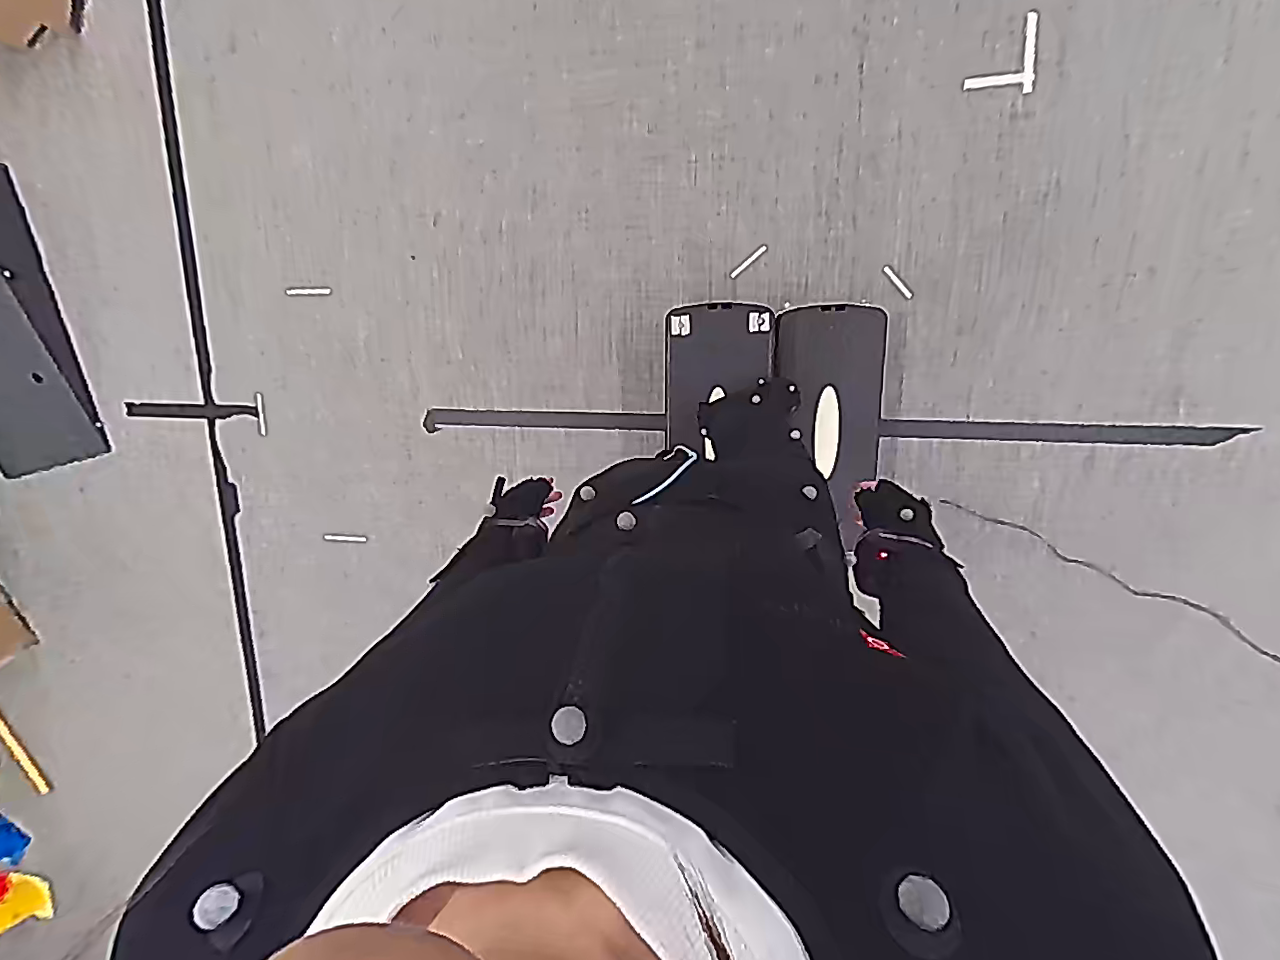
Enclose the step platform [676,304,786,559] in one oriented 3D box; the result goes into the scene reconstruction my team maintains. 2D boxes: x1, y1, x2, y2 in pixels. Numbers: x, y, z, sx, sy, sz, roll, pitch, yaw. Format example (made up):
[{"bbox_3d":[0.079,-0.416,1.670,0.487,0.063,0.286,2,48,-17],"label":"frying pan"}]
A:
[{"bbox_3d":[0.244,-0.125,1.484,0.286,0.204,0.684,0,99,9],"label":"step platform"}]
